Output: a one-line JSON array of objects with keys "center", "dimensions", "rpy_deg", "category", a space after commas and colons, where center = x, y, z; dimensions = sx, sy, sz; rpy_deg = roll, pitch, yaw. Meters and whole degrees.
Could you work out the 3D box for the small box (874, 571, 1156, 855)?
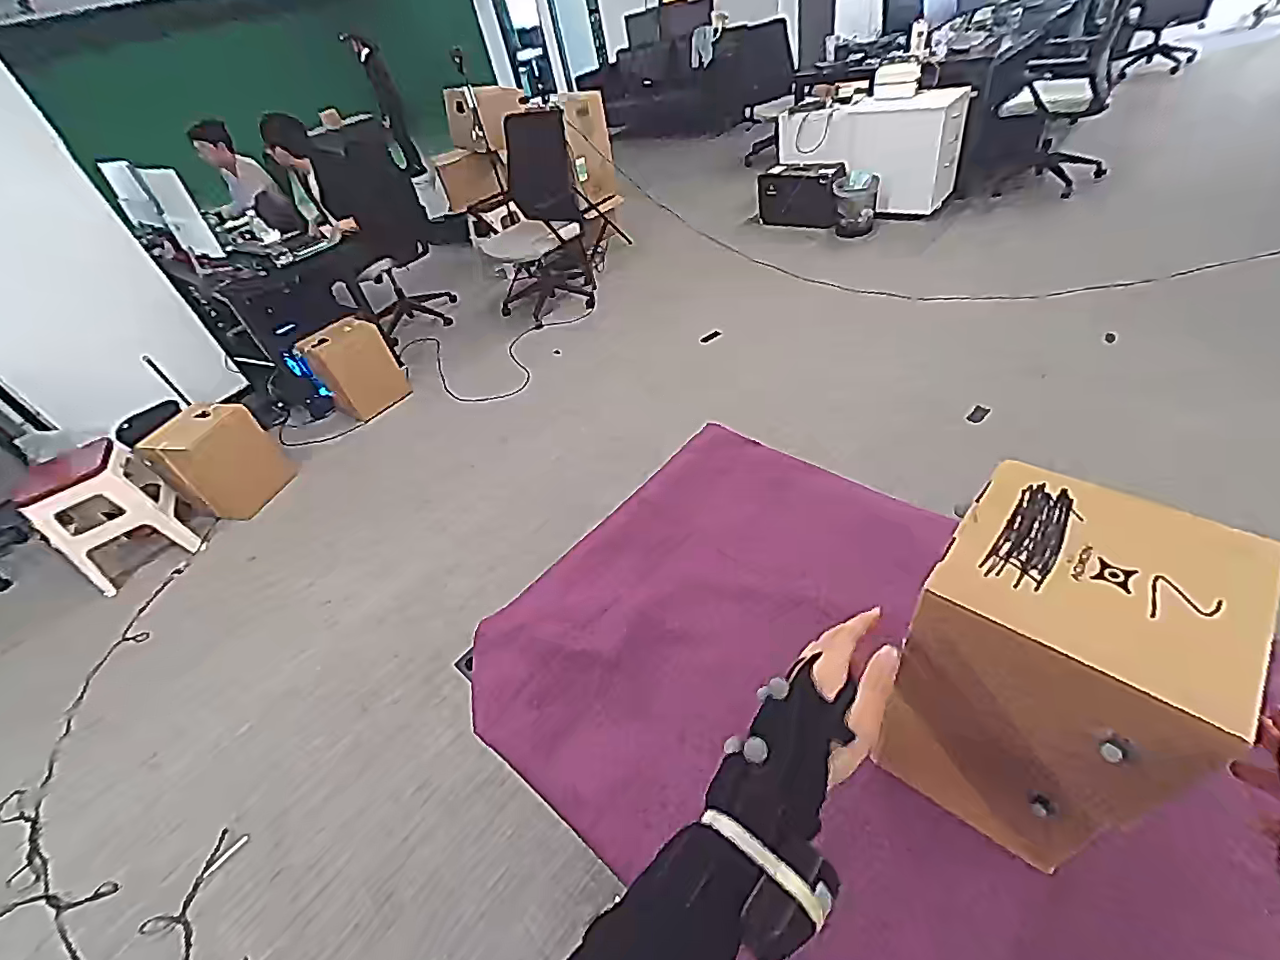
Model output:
[{"center": [0.357, 0.232, 0.545], "dimensions": [0.179, 0.176, 0.168], "rpy_deg": [25, 55, 35], "category": "small box"}]
